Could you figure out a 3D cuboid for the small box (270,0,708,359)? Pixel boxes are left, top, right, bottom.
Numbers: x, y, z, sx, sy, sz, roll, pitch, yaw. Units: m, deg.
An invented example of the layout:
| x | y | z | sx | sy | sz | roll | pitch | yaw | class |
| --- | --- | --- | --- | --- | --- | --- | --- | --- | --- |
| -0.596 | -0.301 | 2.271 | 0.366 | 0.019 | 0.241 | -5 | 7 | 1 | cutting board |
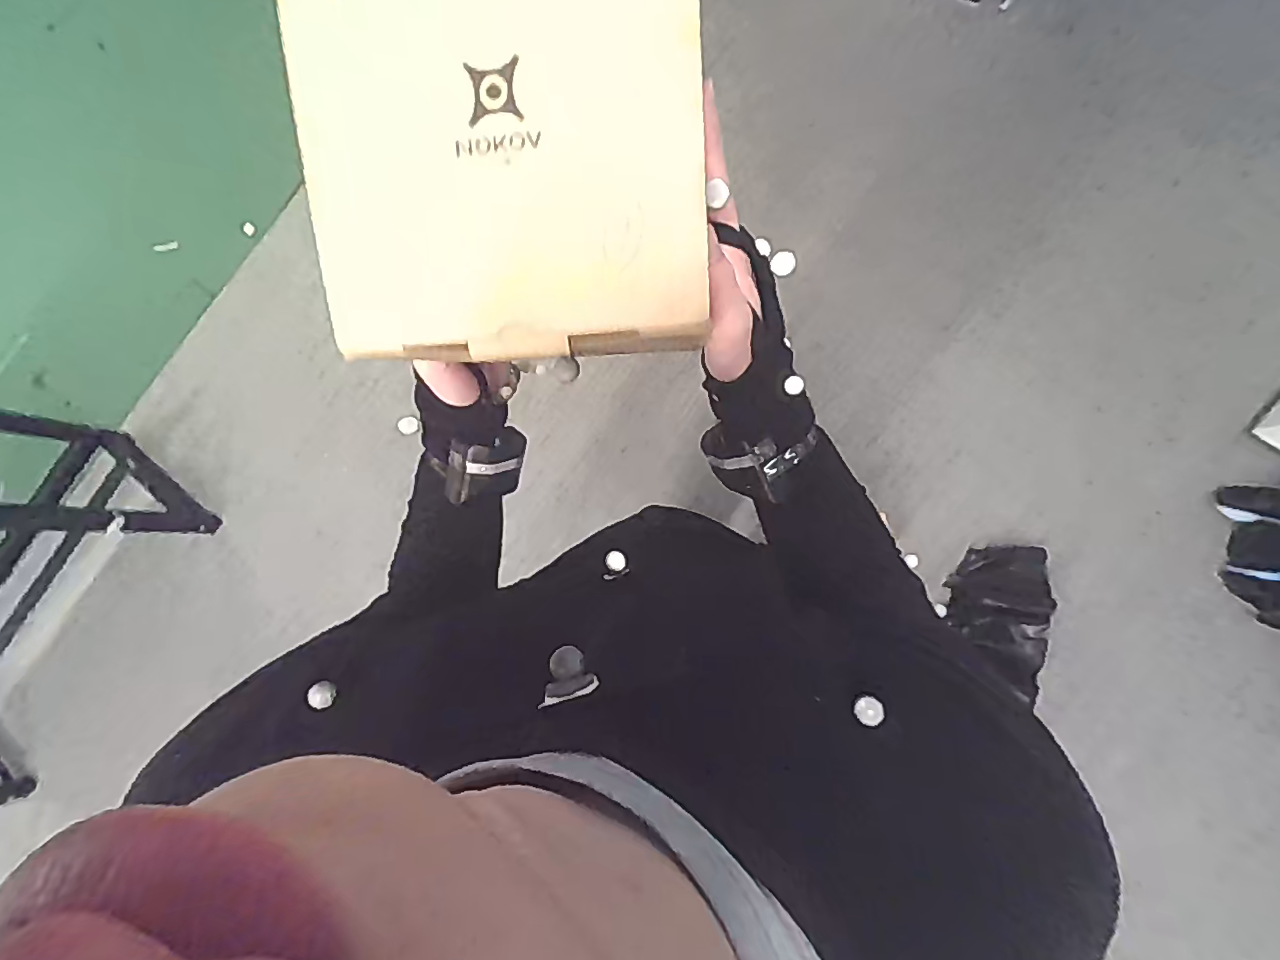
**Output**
| x | y | z | sx | sy | sz | roll | pitch | yaw | class |
| --- | --- | --- | --- | --- | --- | --- | --- | --- | --- |
| -0.050 | -0.158 | 0.286 | 0.168 | 0.176 | 0.179 | -3 | 101 | 5 | small box |
